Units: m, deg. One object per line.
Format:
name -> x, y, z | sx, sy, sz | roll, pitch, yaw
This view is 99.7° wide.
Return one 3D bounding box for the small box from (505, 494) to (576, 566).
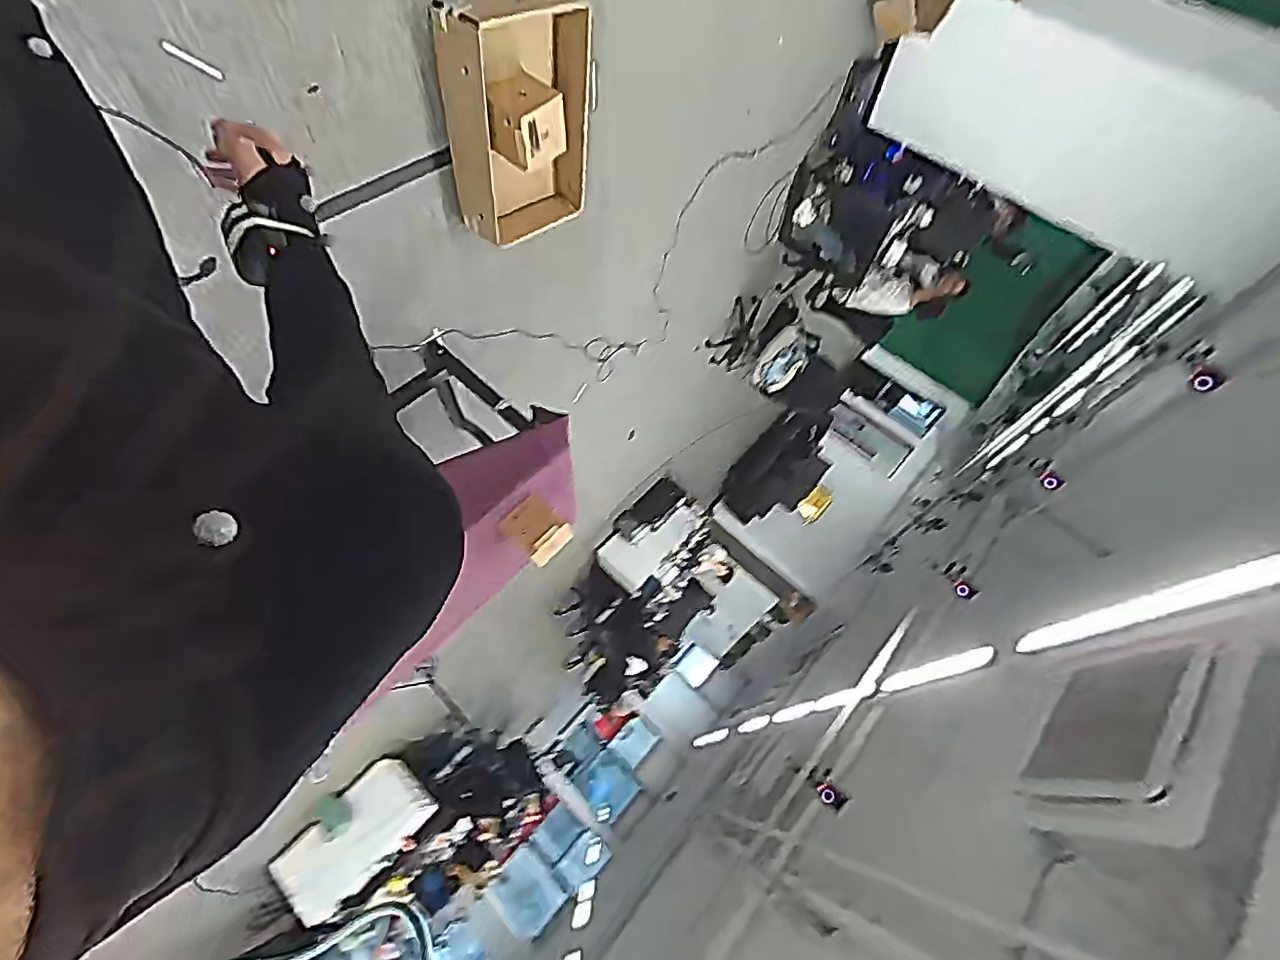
small box -> -0.353, 0.175, 1.918 | 0.168, 0.176, 0.179 | -45, 163, -15
